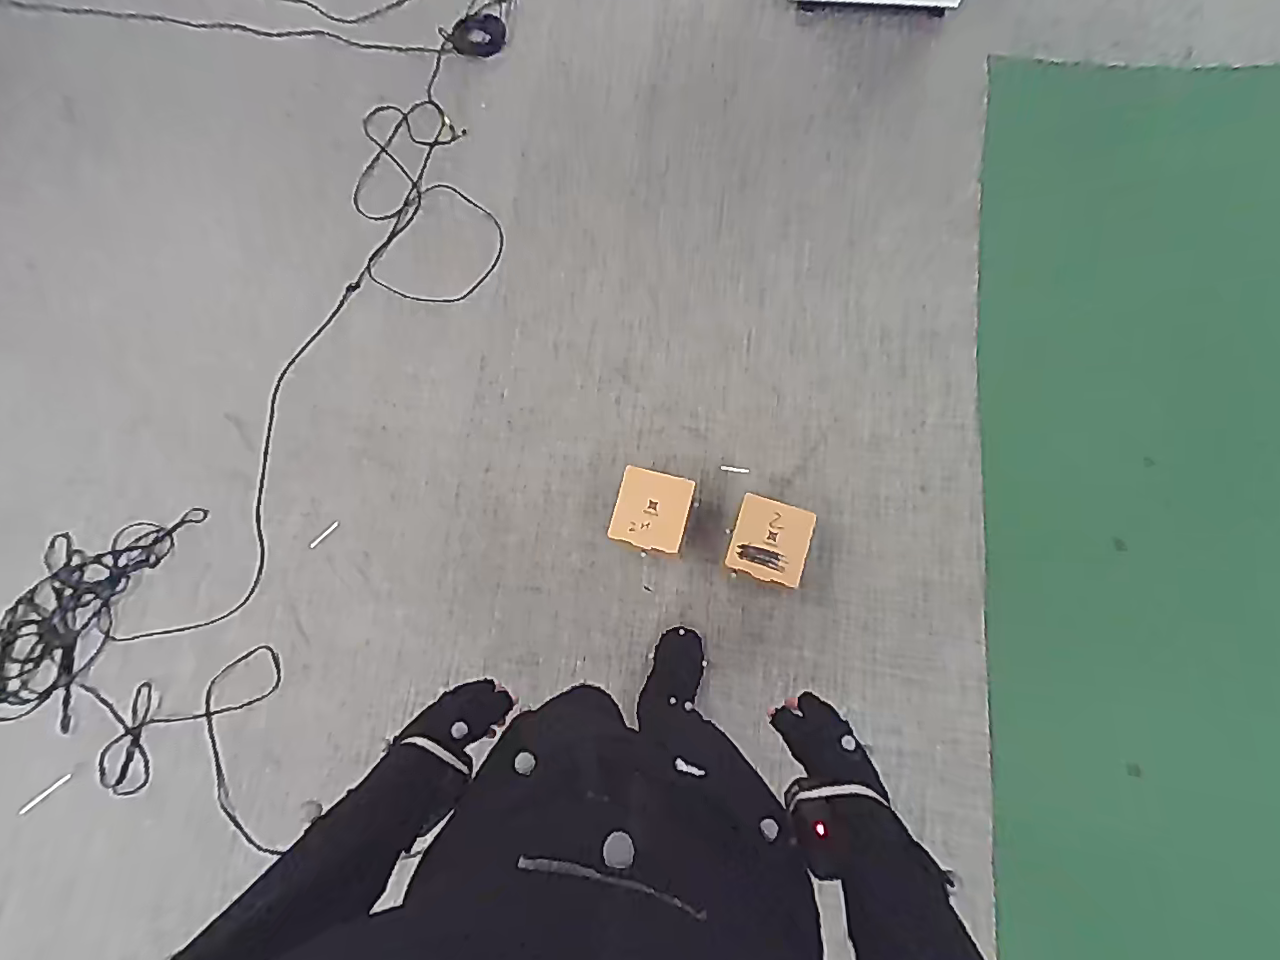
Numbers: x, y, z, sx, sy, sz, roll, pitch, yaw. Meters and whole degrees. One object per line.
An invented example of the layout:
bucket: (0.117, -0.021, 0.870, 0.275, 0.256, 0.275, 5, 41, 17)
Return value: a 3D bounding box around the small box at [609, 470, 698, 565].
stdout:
small box: (0.036, 0.095, 1.298, 0.168, 0.176, 0.179, 14, 78, 8)
